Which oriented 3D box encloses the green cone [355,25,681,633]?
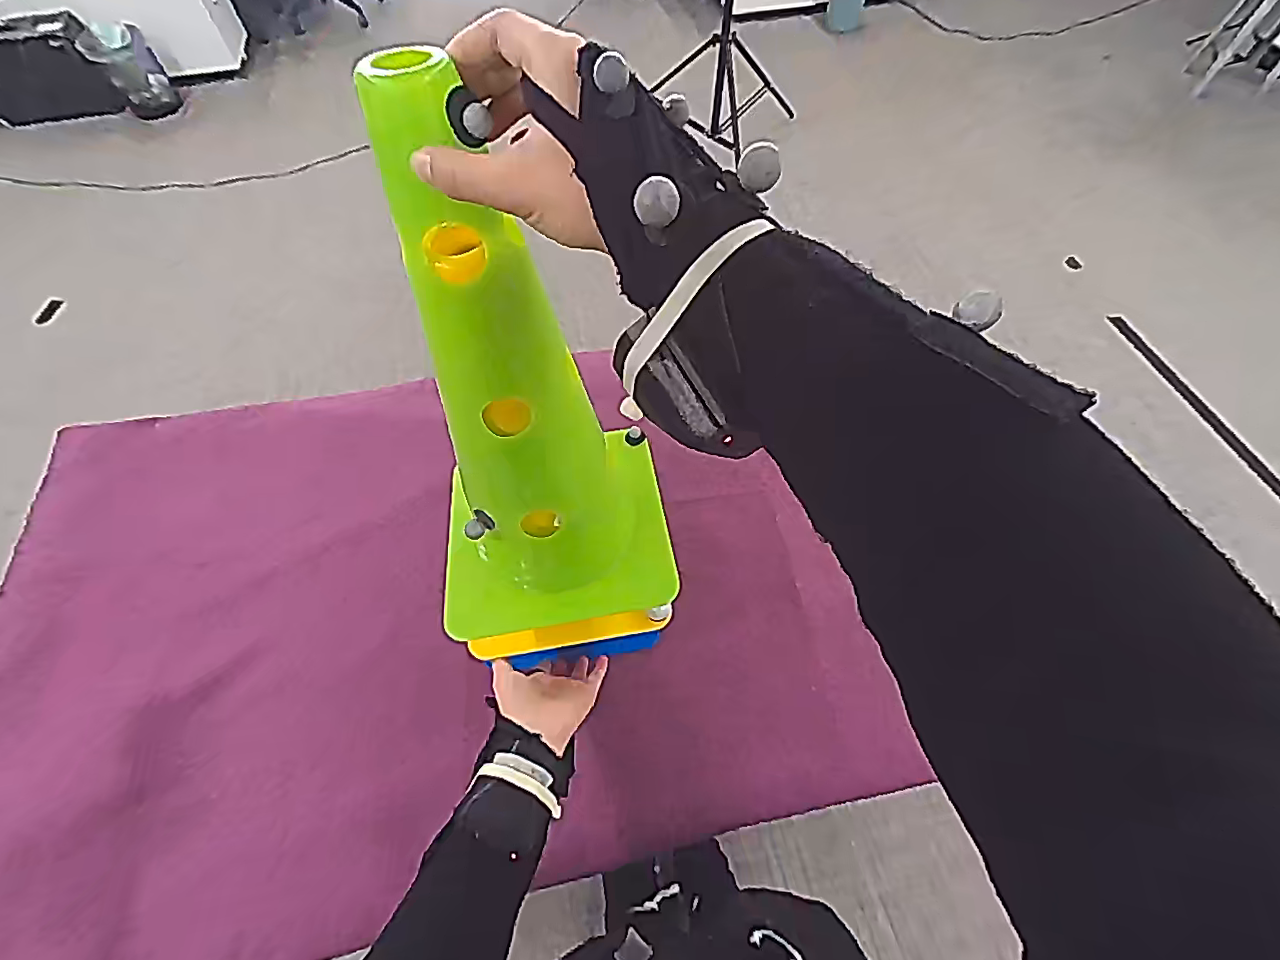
[{"bbox_3d":[-0.086,-0.069,0.359,0.200,0.368,0.202,-10,54,-3],"label":"green cone"}]
